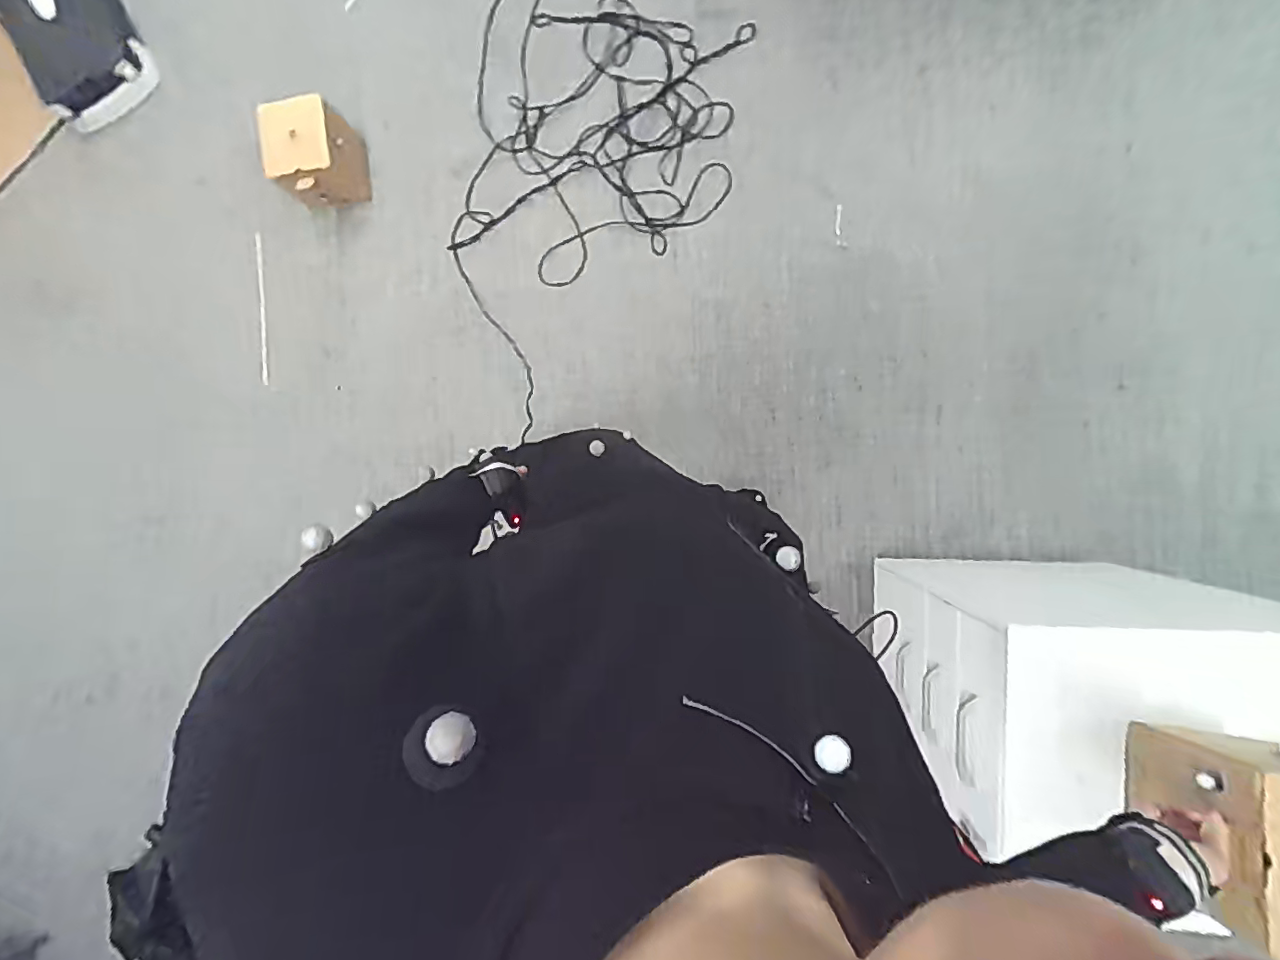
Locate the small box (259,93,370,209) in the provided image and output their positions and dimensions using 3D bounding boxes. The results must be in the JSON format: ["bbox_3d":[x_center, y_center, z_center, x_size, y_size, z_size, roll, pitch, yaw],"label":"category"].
[{"bbox_3d":[-0.804,-0.812,1.350,0.168,0.176,0.179,-7,91,5],"label":"small box"}]
